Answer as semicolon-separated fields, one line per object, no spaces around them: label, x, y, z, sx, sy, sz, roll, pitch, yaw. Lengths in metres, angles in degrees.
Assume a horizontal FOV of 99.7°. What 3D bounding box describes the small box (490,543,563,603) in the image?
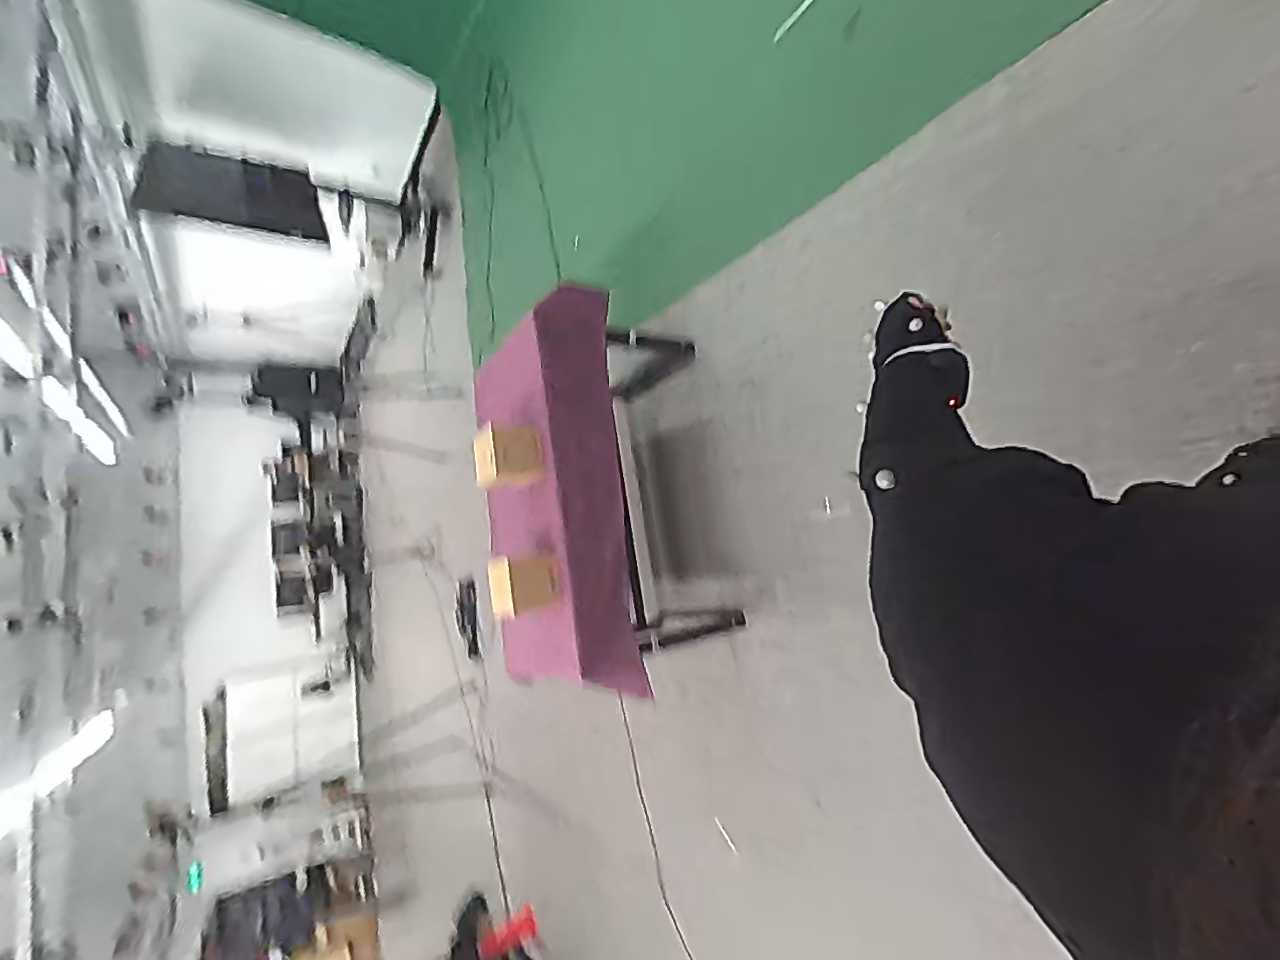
small box;-0.365;0.298;1.728;0.179;0.176;0.168;-18;78;52

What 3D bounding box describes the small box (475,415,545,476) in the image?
small box;-0.432;-0.112;1.796;0.179;0.176;0.168;-21;77;53
